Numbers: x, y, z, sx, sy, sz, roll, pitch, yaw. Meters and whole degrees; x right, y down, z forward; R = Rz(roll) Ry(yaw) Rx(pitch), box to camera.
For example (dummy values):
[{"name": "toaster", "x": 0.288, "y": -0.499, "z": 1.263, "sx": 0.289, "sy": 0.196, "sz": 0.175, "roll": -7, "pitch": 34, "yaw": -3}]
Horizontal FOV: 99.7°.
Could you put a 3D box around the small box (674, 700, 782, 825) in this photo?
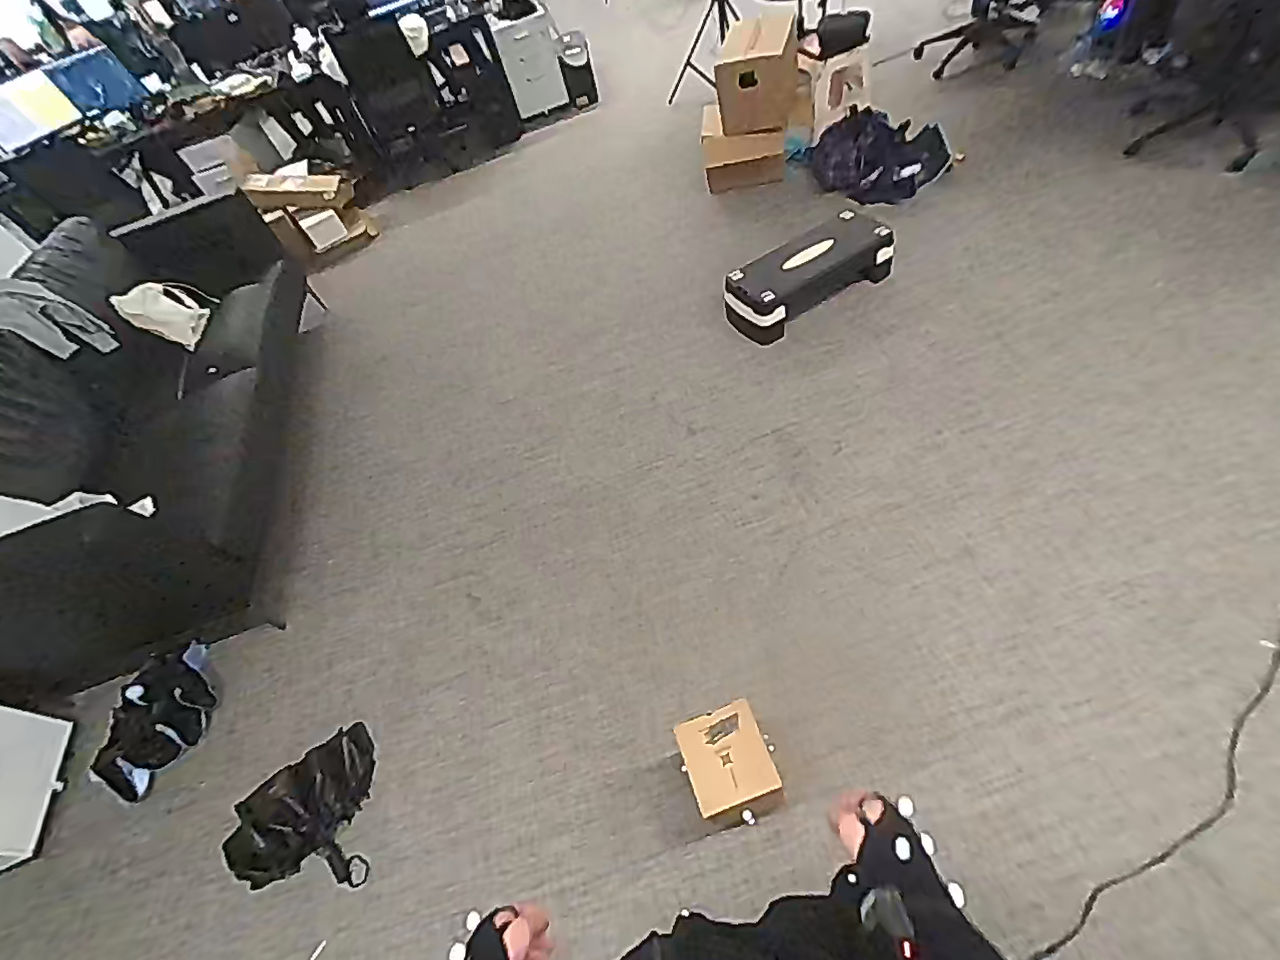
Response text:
[{"name": "small box", "x": 0.186, "y": 0.596, "z": 1.135, "sx": 0.168, "sy": 0.176, "sz": 0.179, "roll": -23, "pitch": 52, "yaw": 0}]
